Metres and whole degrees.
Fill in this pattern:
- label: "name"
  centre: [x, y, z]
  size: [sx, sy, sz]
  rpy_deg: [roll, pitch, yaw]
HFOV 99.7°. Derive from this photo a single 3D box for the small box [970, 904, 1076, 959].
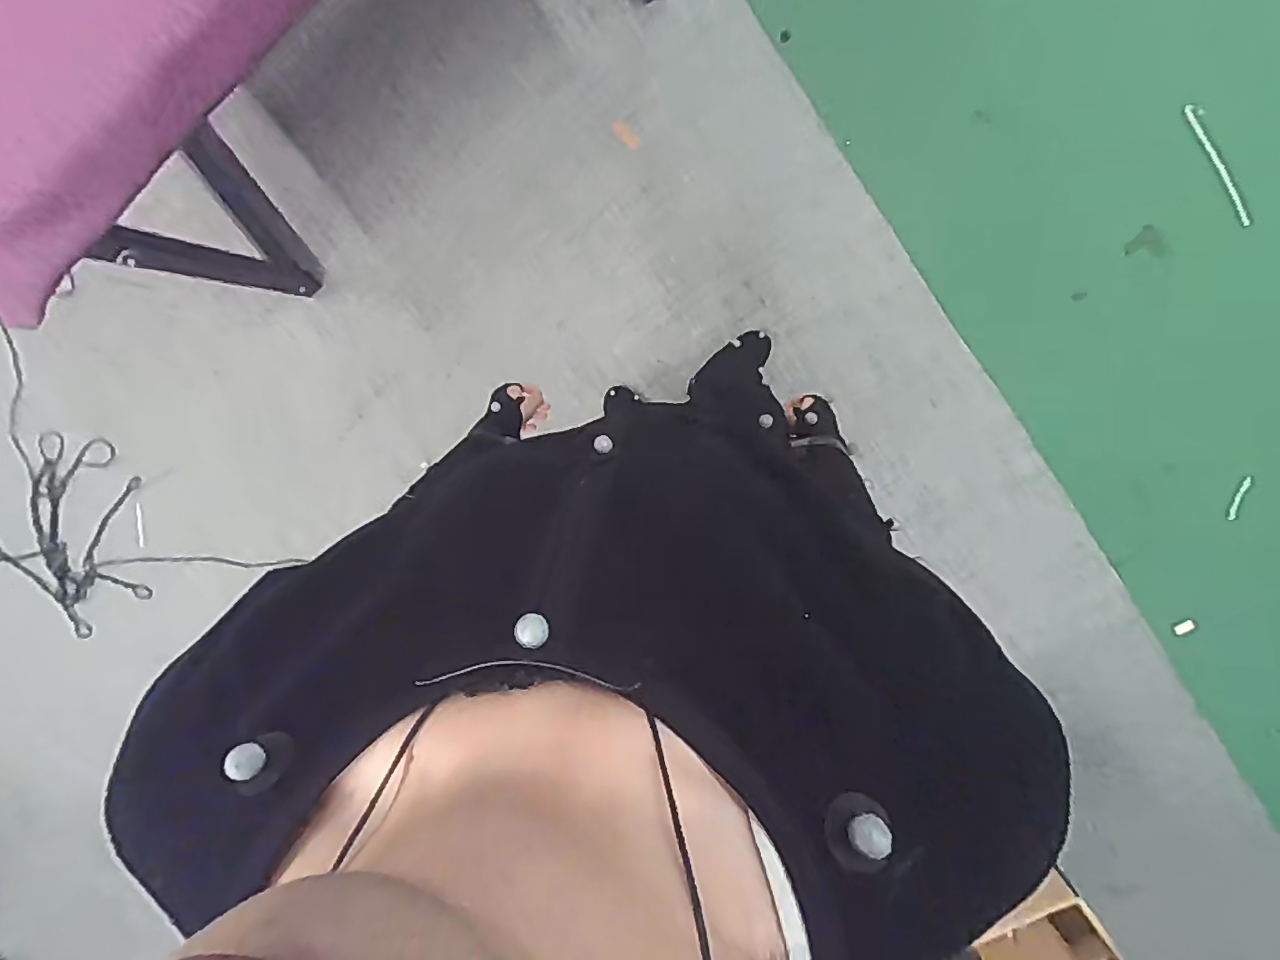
- label: "small box"
  centre: [0.864, 1.078, 1.165]
  size: [0.168, 0.176, 0.179]
  rpy_deg: [-39, 96, 10]
